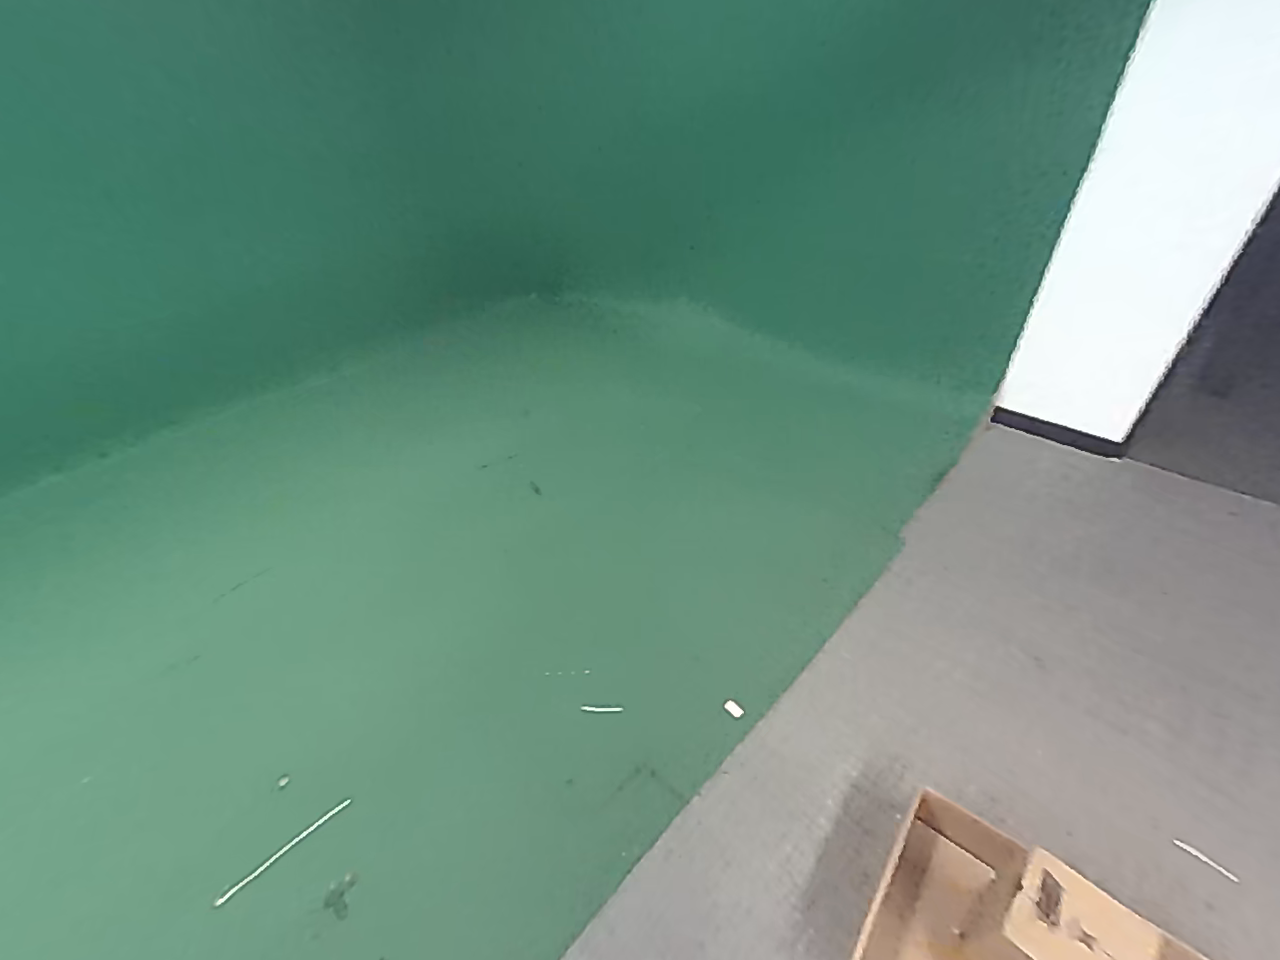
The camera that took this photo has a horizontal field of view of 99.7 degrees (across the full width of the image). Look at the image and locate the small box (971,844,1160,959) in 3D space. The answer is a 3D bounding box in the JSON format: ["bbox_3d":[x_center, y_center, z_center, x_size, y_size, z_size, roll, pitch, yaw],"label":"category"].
[{"bbox_3d":[0.681,0.755,0.884,0.179,0.176,0.168,32,53,33],"label":"small box"}]

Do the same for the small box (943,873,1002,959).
[{"bbox_3d":[0.693,0.880,0.990,0.168,0.176,0.179,-35,51,-29],"label":"small box"}]
